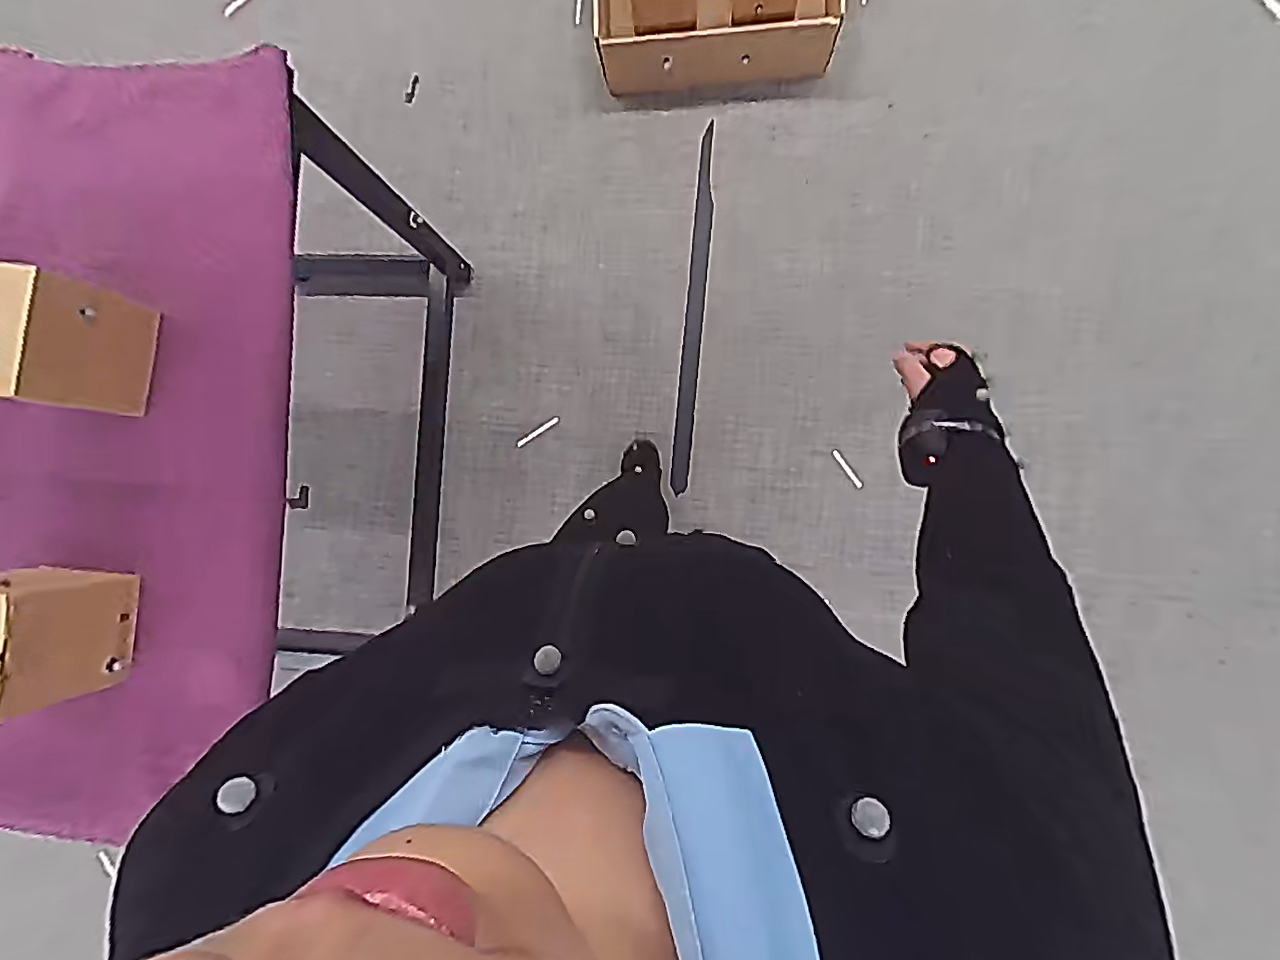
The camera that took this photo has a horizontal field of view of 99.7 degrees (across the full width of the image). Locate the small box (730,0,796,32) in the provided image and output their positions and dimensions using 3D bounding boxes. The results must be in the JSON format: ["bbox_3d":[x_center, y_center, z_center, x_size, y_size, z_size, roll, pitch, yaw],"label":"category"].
[{"bbox_3d":[0.319,-1.311,1.390,0.168,0.176,0.179,0,88,7],"label":"small box"}]

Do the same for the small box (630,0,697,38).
[{"bbox_3d":[0.061,-1.308,1.414,0.179,0.176,0.168,-2,87,5],"label":"small box"}]

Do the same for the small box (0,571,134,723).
[{"bbox_3d":[-0.885,0.226,0.773,0.179,0.176,0.168,4,88,6],"label":"small box"}]
